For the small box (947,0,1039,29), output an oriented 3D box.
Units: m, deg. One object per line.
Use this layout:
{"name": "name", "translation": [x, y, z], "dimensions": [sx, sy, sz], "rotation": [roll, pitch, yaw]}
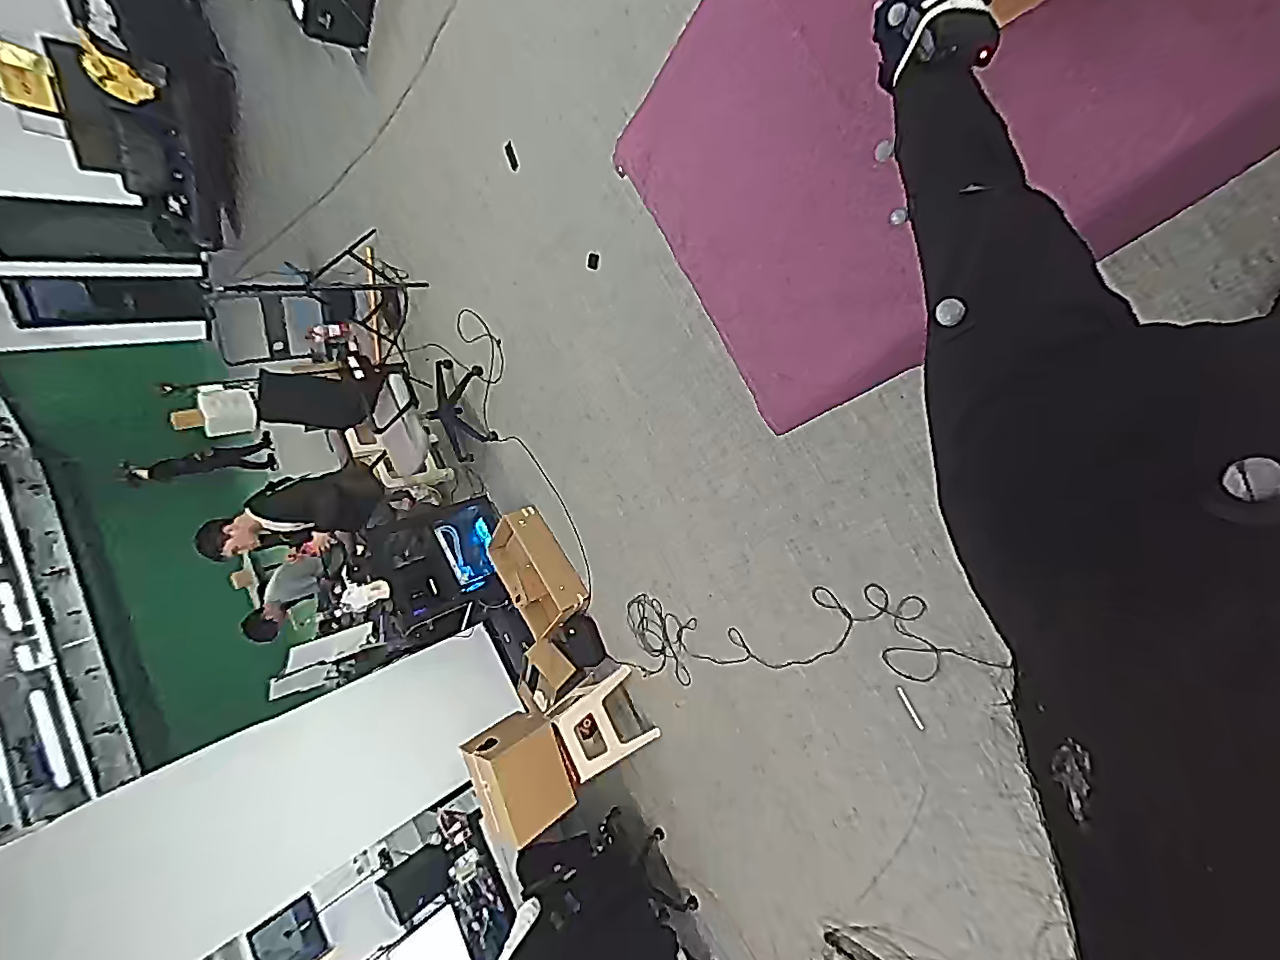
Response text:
{"name": "small box", "translation": [0.369, -0.571, 0.491], "dimensions": [0.179, 0.176, 0.168], "rotation": [-9, 96, 50]}
